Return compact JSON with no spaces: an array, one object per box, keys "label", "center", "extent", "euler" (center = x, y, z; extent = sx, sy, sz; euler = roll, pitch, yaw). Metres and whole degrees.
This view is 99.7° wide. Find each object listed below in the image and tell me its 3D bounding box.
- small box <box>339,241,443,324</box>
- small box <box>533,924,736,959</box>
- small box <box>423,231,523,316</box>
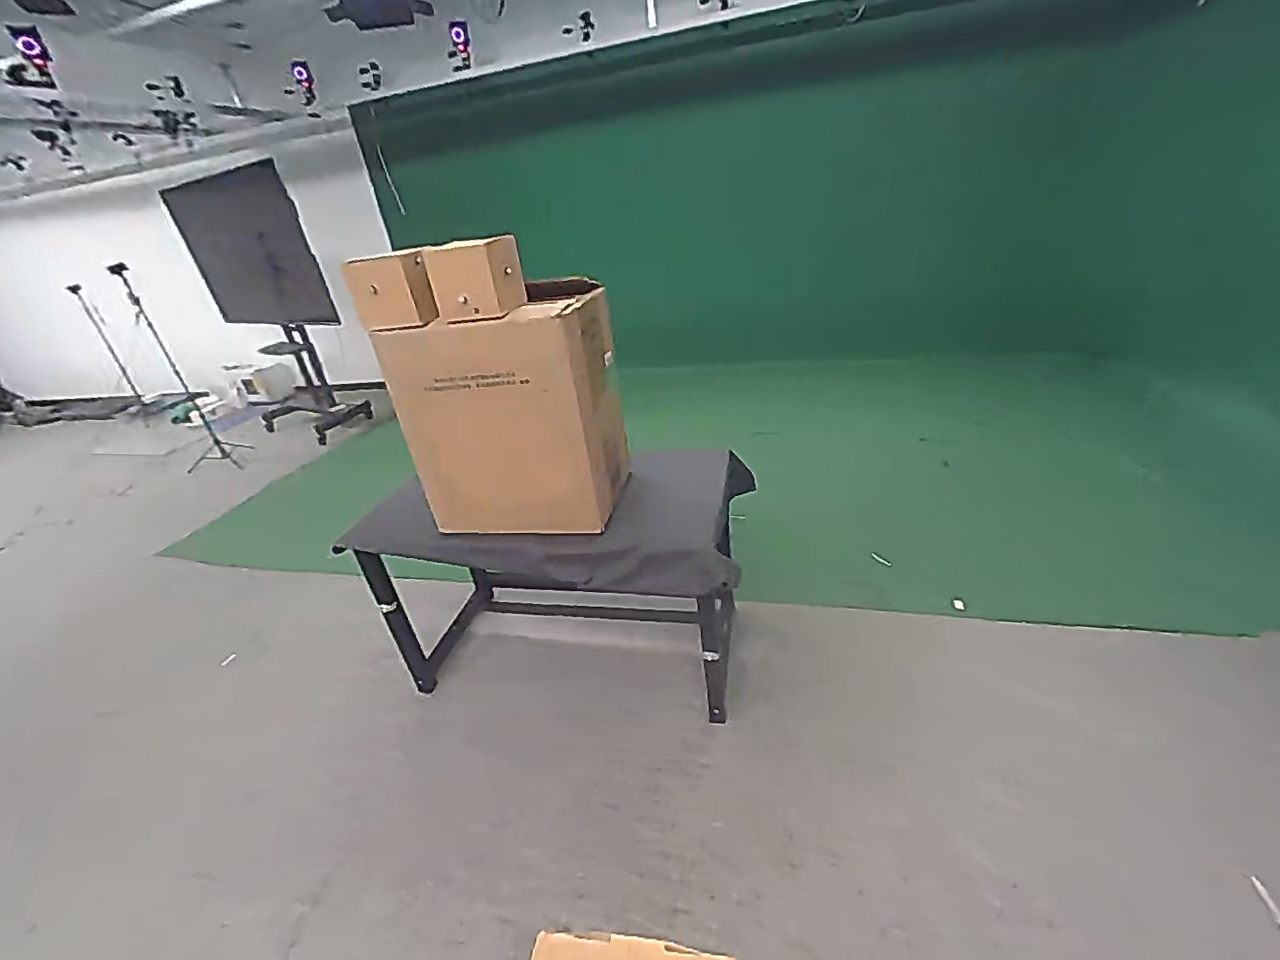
[{"label":"small box","center":[-0.621,-0.506,1.393],"extent":[0.179,0.176,0.168],"euler":[-1,30,14]},{"label":"small box","center":[-0.018,0.479,0.390],"extent":[0.168,0.176,0.179],"euler":[7,22,2]},{"label":"small box","center":[-0.405,-0.514,1.349],"extent":[0.168,0.176,0.179],"euler":[0,31,13]}]
